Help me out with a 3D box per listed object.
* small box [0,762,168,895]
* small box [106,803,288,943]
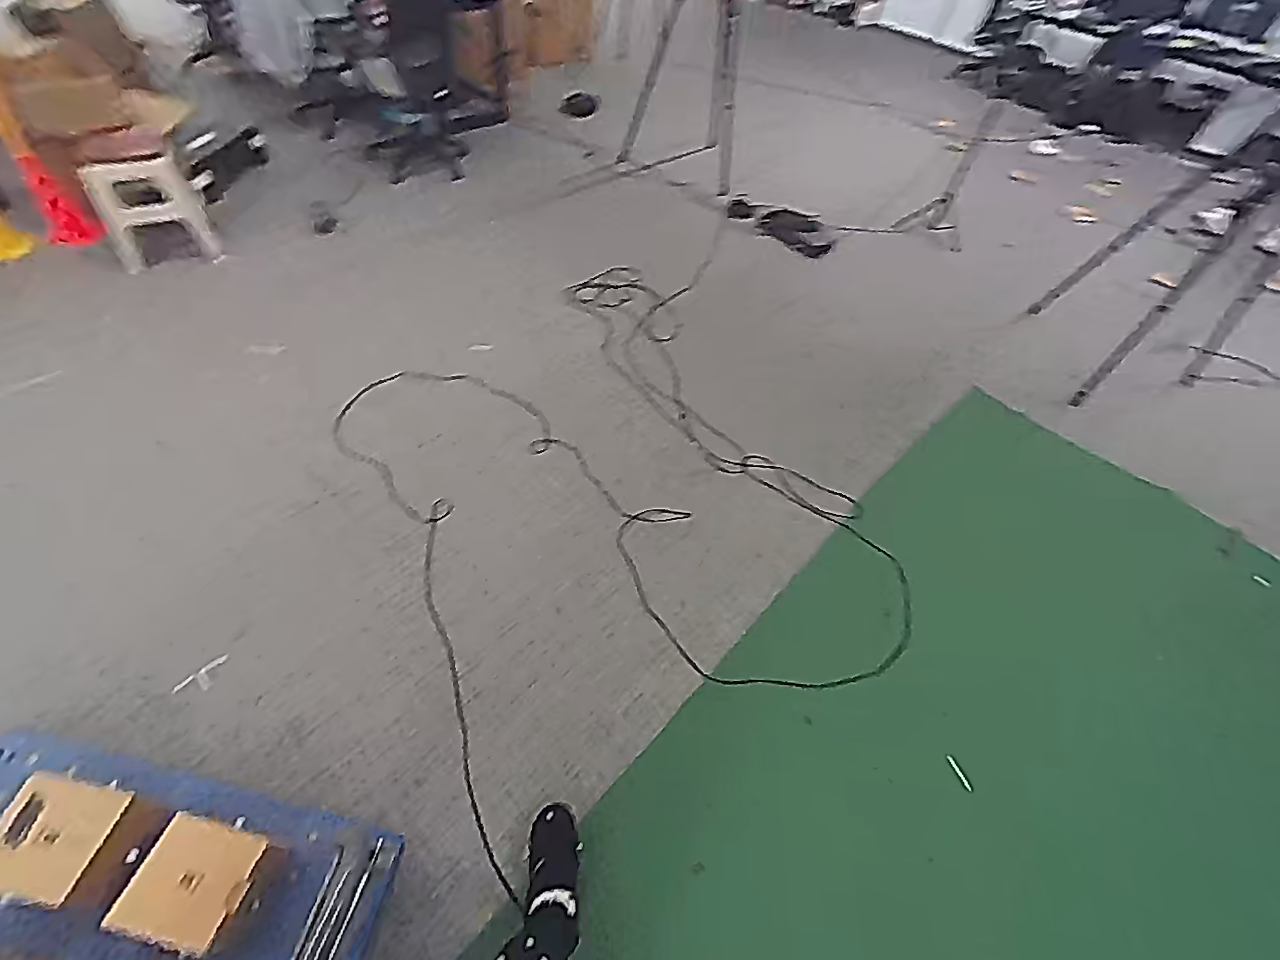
[{"bbox_3d":[-1.037,0.641,0.991,0.179,0.176,0.168,18,52,-6],"label":"small box"},{"bbox_3d":[-0.804,0.729,1.007,0.179,0.176,0.168,21,51,-4],"label":"small box"}]
